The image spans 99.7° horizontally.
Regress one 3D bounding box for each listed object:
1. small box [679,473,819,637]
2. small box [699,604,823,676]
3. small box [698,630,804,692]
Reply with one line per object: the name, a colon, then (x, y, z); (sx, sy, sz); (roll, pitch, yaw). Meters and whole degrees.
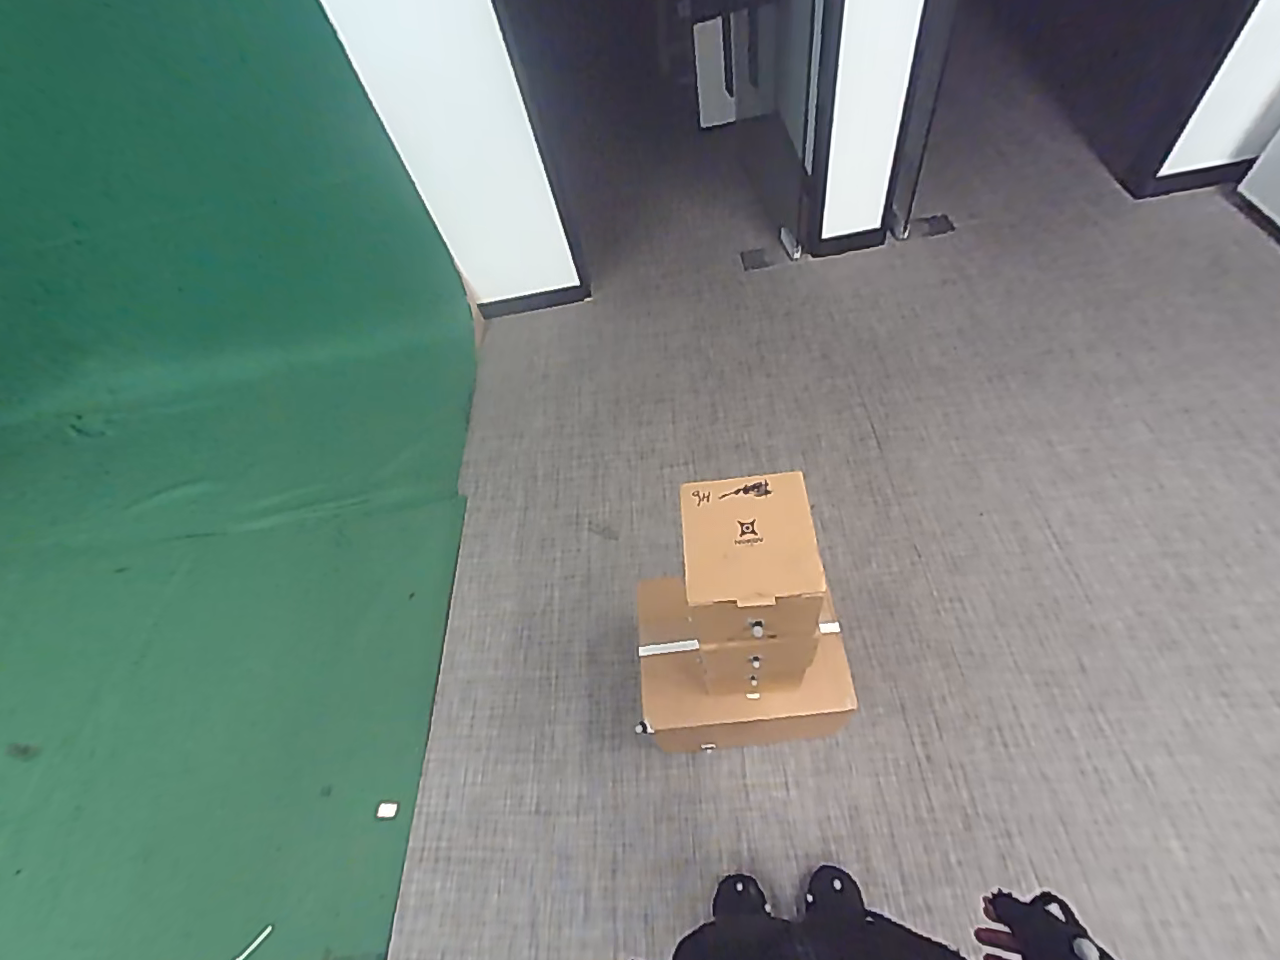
small box: (0.148, 0.113, 0.751); (0.168, 0.176, 0.179); (-6, 57, 9)
small box: (0.180, 0.210, 0.880); (0.179, 0.176, 0.168); (-10, 56, 5)
small box: (0.201, 0.294, 1.019); (0.179, 0.176, 0.168); (-7, 57, 7)
